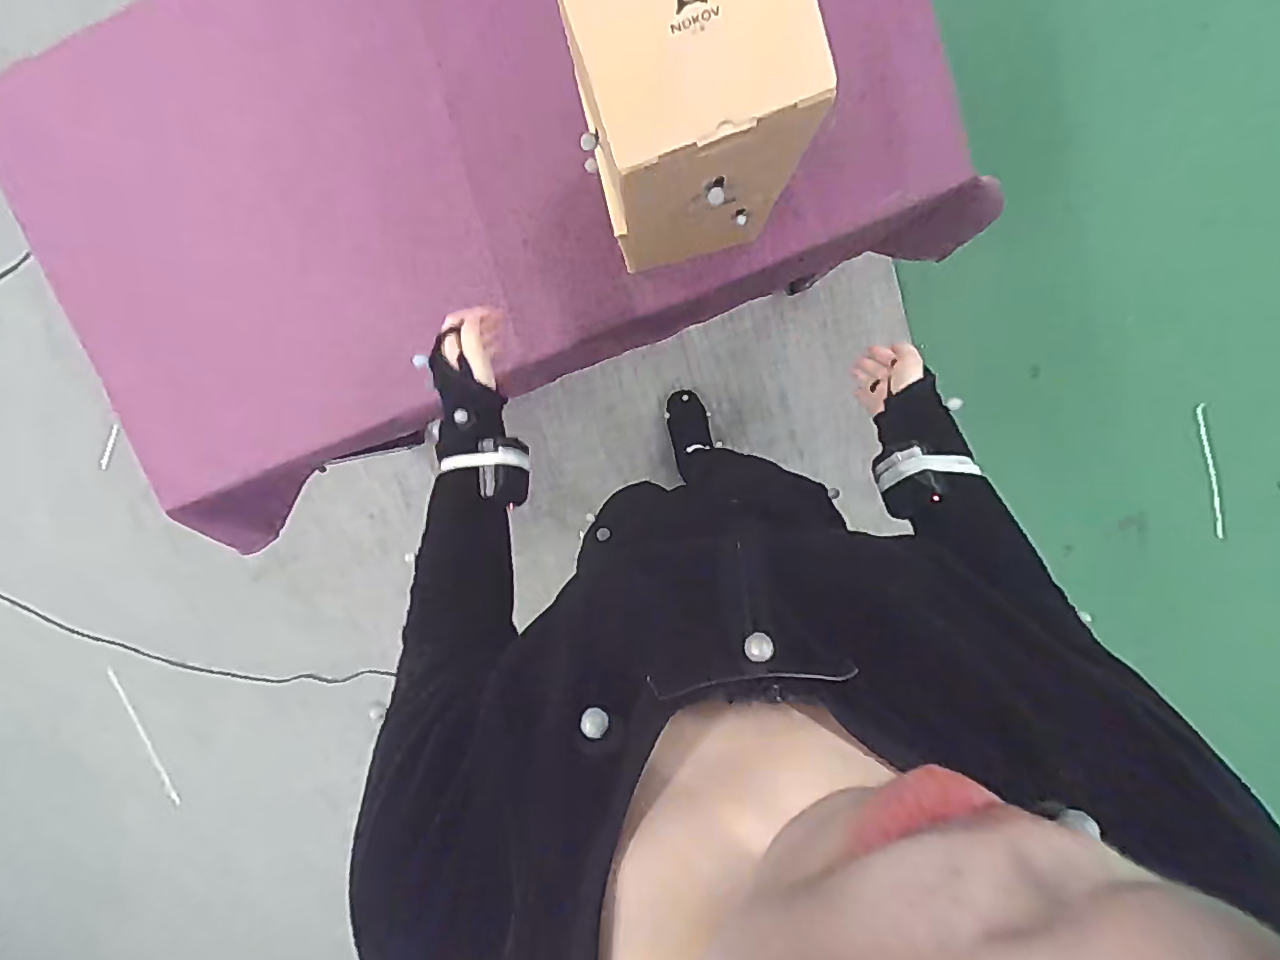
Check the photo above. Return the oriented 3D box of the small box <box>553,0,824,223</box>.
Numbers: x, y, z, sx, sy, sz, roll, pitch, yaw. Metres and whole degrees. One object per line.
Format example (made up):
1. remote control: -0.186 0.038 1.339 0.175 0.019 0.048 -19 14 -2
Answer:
1. small box: 0.033 -0.340 0.455 0.168 0.176 0.179 -18 98 4

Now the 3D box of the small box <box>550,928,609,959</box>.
1. small box: -0.187 1.524 1.659 0.179 0.176 0.168 -1 98 4

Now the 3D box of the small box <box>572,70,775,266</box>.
1. small box: 0.038 -0.363 0.618 0.179 0.176 0.168 -14 98 4
